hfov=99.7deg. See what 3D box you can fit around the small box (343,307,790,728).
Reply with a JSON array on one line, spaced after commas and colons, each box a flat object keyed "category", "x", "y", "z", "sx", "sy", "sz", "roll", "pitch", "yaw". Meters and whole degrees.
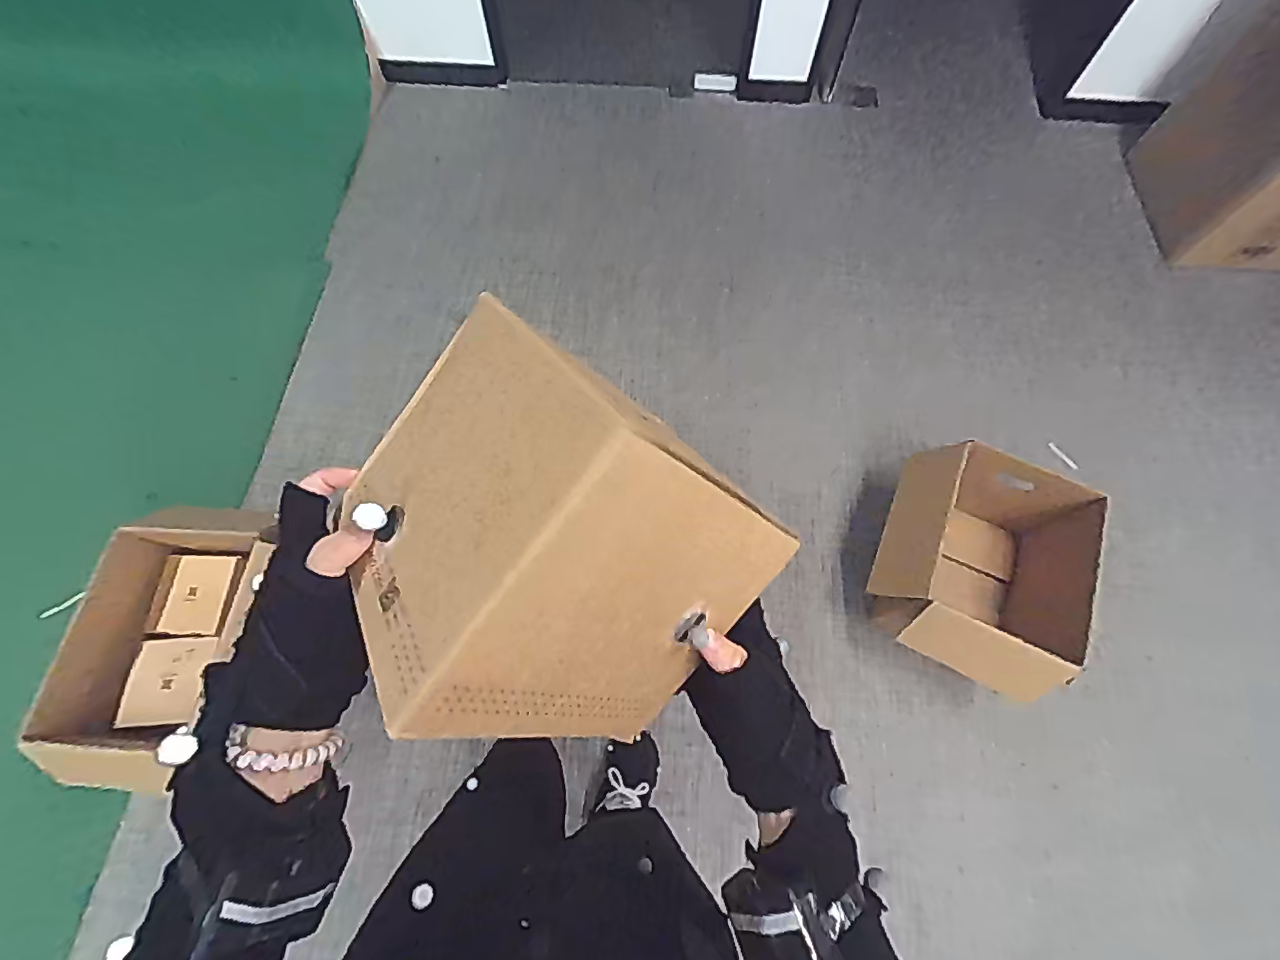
[{"category": "small box", "x": -0.049, "y": 0.029, "z": 0.336, "sx": 0.176, "sy": 0.179, "sz": 0.168, "roll": -55, "pitch": 45, "yaw": 7}]
